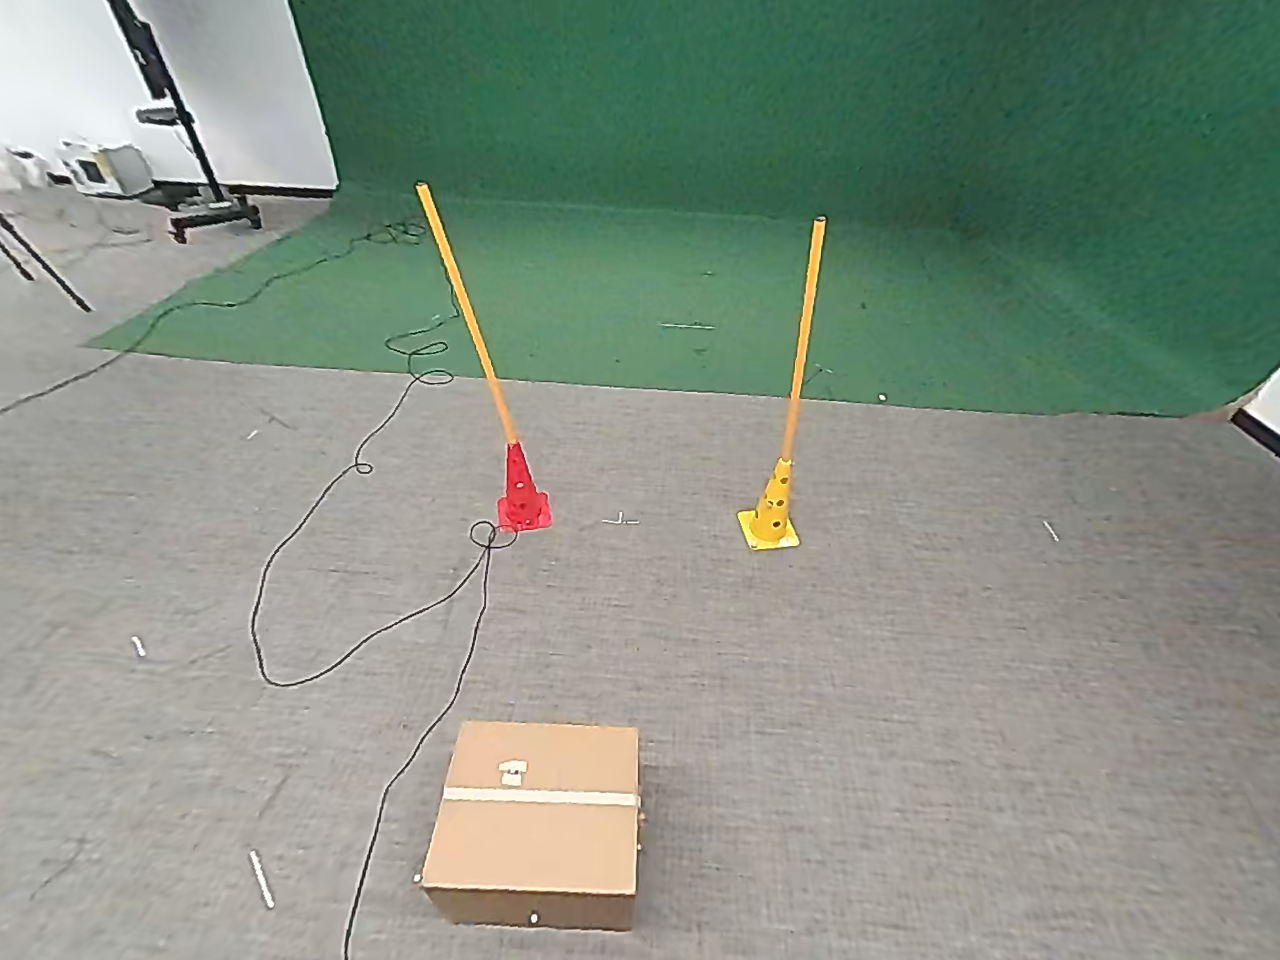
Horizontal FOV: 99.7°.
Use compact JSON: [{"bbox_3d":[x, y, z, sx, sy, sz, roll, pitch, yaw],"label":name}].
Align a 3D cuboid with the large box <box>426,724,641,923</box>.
[{"bbox_3d":[-0.202,0.773,1.217,0.408,0.320,0.320,2,40,0],"label":"large box"}]
